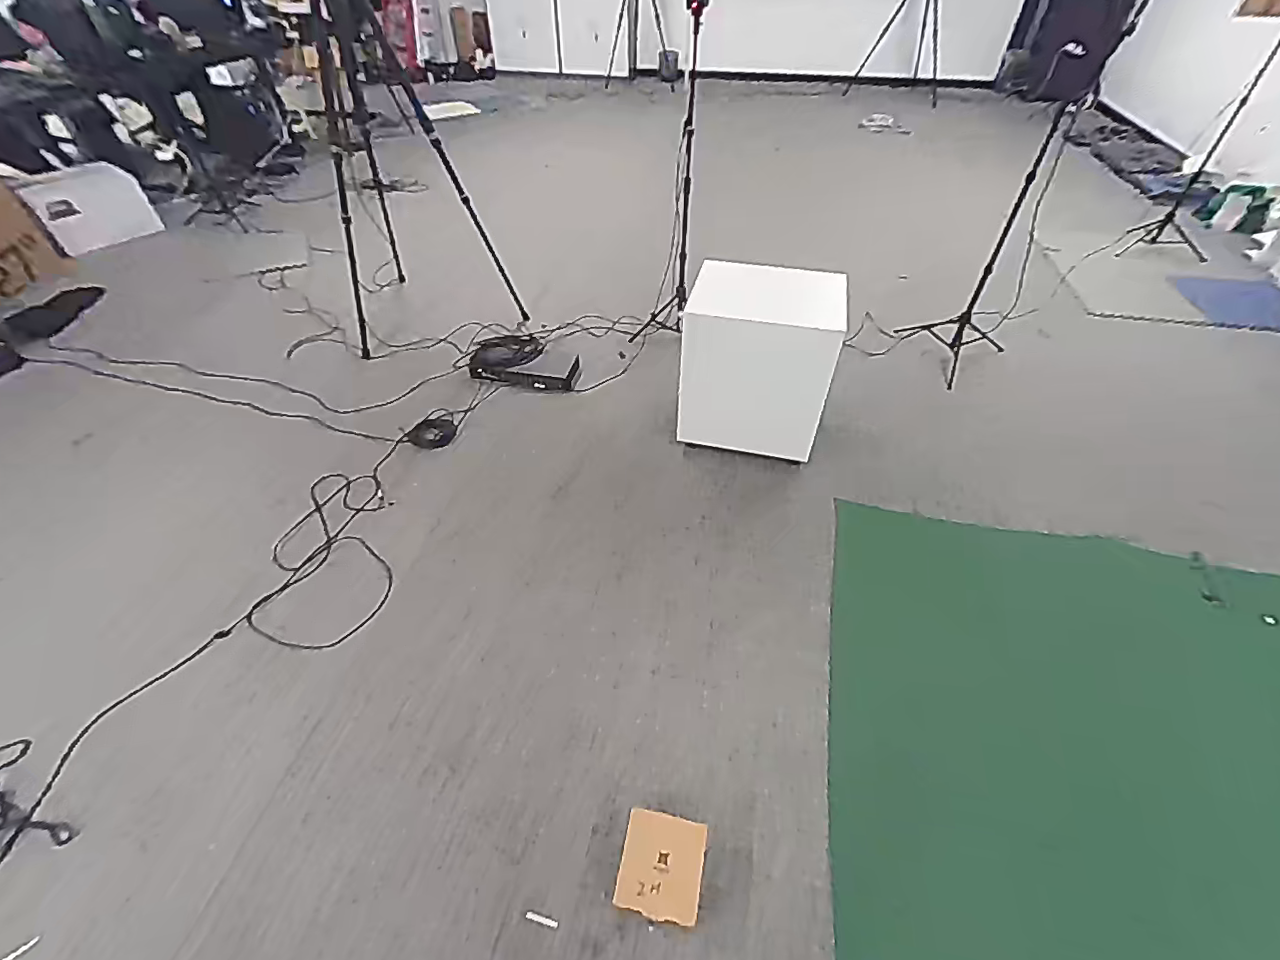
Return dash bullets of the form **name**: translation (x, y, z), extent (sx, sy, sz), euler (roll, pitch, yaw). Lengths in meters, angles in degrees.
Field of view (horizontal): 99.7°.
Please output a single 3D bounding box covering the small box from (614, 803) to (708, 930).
- **small box**: translation (0.046, 0.830, 1.160), extent (0.168, 0.176, 0.179), euler (9, 48, 10)
